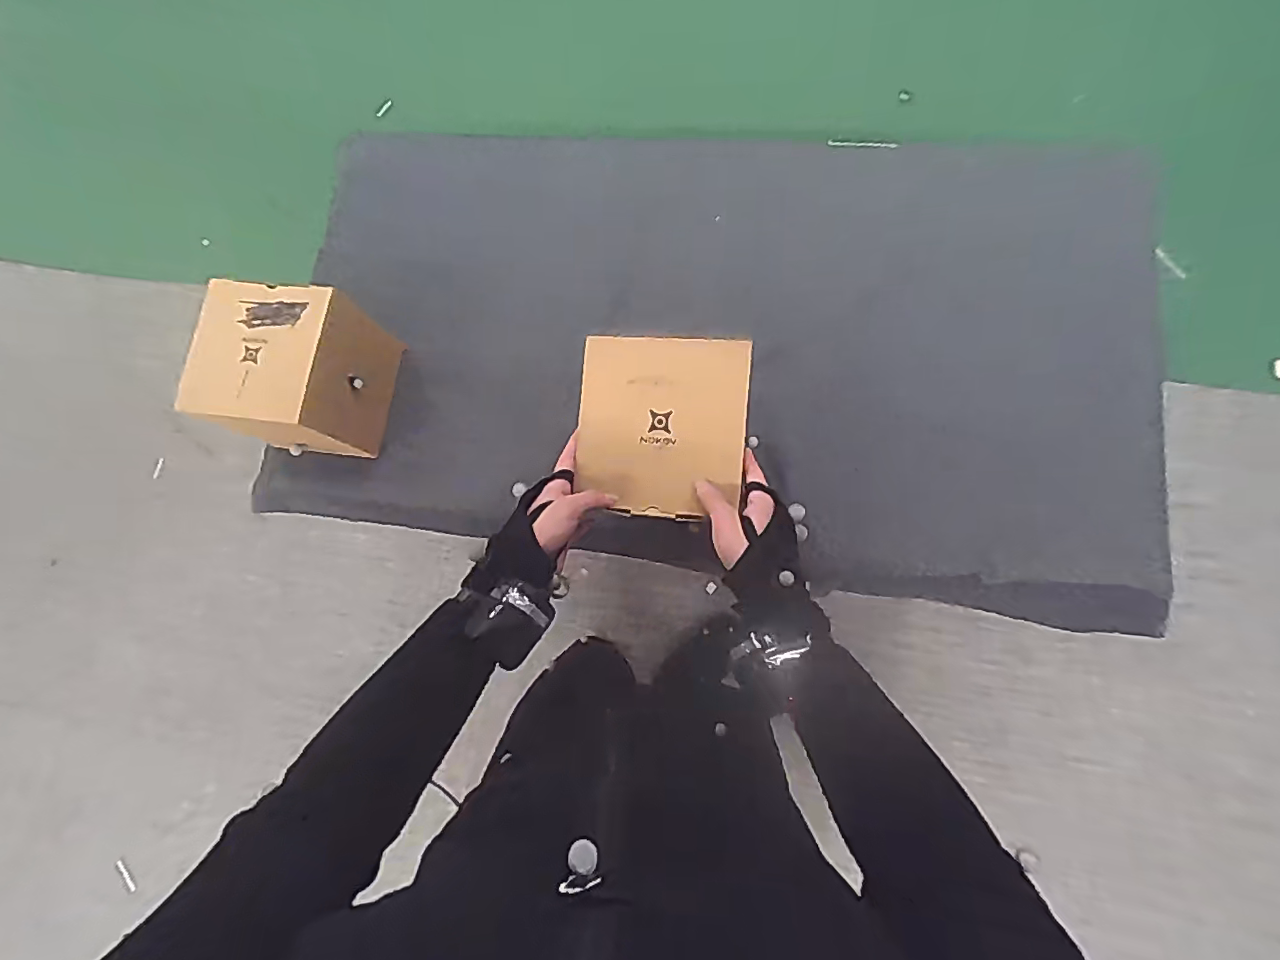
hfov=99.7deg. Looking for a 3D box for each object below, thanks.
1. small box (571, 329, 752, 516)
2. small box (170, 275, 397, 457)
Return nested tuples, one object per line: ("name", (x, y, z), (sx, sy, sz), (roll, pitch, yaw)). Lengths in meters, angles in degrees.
("small box", (0.032, -0.052, 0.594), (0.168, 0.176, 0.179), (4, 85, 9))
("small box", (-0.450, -0.142, 0.716), (0.168, 0.176, 0.179), (6, 79, 7))
